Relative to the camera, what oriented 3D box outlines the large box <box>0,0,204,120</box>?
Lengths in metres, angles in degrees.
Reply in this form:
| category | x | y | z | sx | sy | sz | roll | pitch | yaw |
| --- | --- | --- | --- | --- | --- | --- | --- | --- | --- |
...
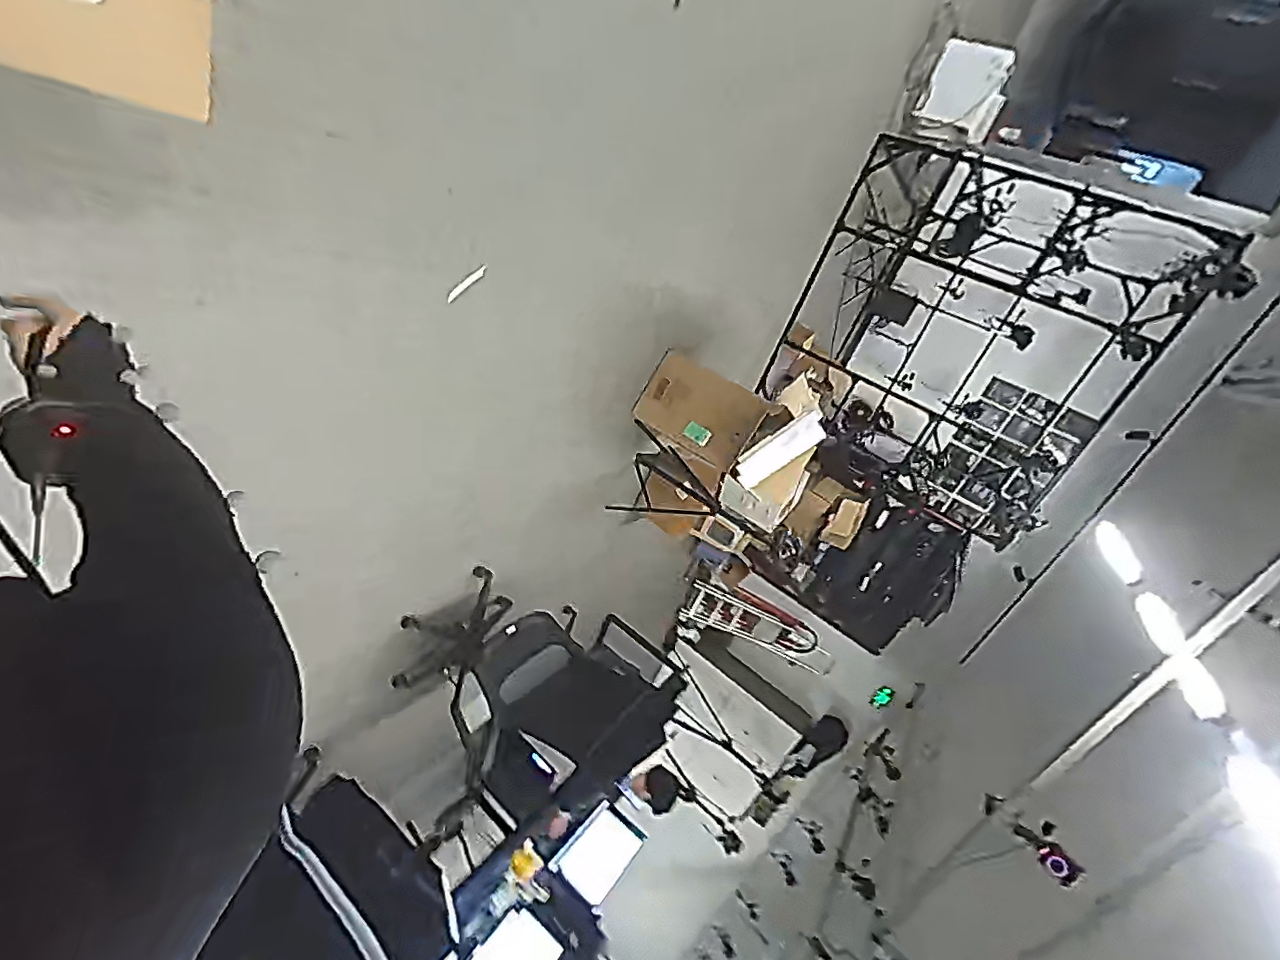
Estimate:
| category | x | y | z | sx | sy | sz | roll | pitch | yaw |
| --- | --- | --- | --- | --- | --- | --- | --- | --- | --- |
| large box | -0.783 | -0.659 | 0.584 | 0.408 | 0.320 | 0.320 | -22 | 139 | -56 |
